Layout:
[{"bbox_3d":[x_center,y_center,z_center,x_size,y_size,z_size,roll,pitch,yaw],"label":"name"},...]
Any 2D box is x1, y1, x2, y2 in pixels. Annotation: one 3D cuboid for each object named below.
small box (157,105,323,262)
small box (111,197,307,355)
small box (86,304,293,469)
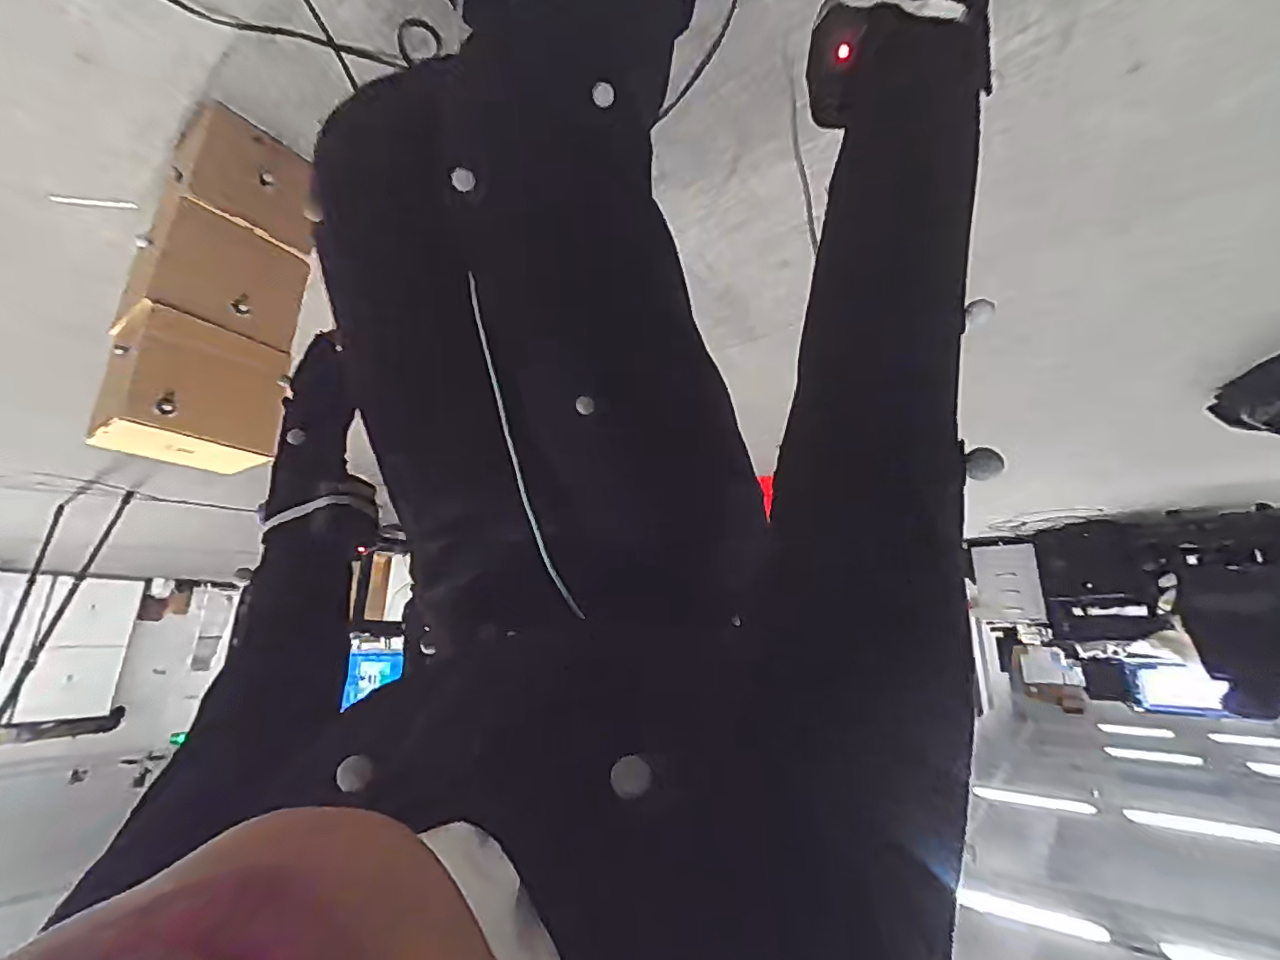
[{"bbox_3d":[-0.635,-0.444,0.865,0.179,0.176,0.168,-10,160,33],"label":"small box"},{"bbox_3d":[-0.645,-0.285,0.824,0.168,0.176,0.179,-9,160,33],"label":"small box"},{"bbox_3d":[-0.642,-0.126,0.787,0.168,0.176,0.179,-9,161,33],"label":"small box"}]
